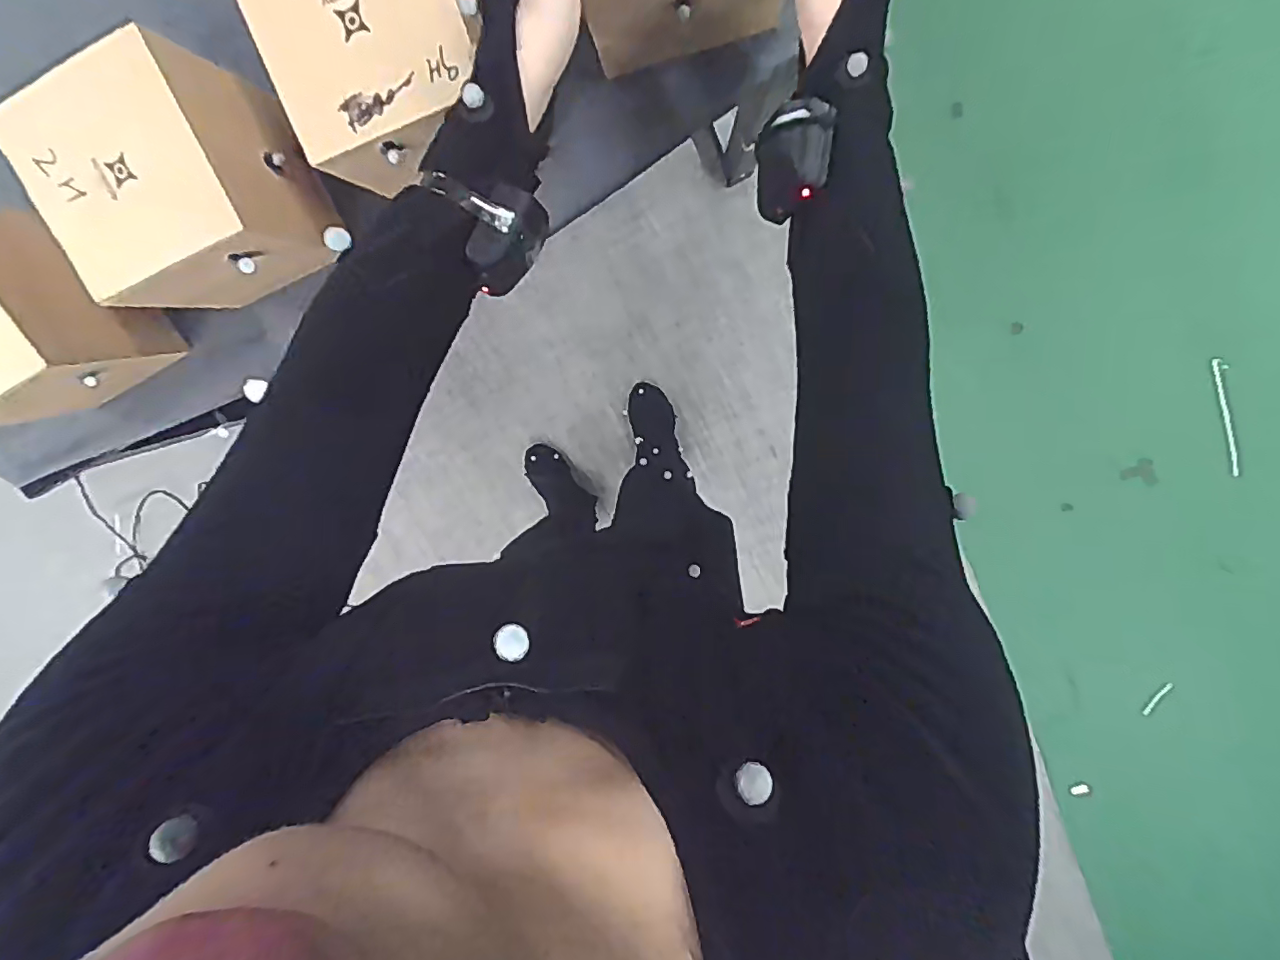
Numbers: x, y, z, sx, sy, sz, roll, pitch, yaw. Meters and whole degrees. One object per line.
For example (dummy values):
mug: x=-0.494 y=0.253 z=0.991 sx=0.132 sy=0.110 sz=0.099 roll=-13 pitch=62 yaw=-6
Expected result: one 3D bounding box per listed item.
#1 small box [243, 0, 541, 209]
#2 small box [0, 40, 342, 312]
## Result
small box: x=-0.211 y=-0.377 z=0.493 sx=0.168 sy=0.176 sz=0.179 roll=-15 pitch=104 yaw=11
small box: x=-0.439 y=-0.279 z=0.543 sx=0.179 sy=0.176 sz=0.168 roll=-18 pitch=103 yaw=11
